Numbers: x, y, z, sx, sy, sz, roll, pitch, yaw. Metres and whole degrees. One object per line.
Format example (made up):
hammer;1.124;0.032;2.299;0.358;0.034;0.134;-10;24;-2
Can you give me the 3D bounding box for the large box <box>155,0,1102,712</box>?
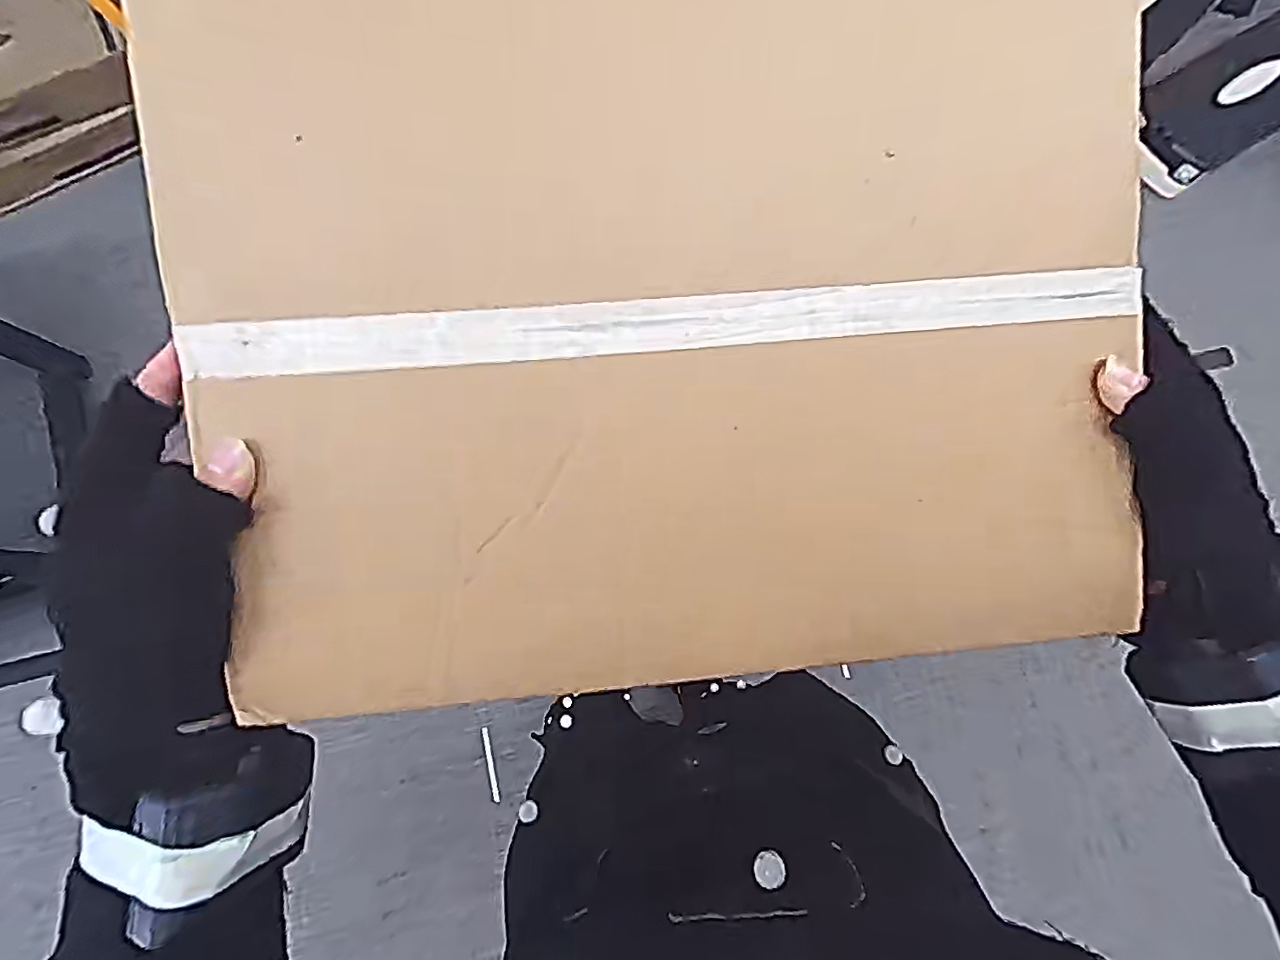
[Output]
large box;0.007;-0.080;0.388;0.408;0.320;0.320;-5;95;-4
